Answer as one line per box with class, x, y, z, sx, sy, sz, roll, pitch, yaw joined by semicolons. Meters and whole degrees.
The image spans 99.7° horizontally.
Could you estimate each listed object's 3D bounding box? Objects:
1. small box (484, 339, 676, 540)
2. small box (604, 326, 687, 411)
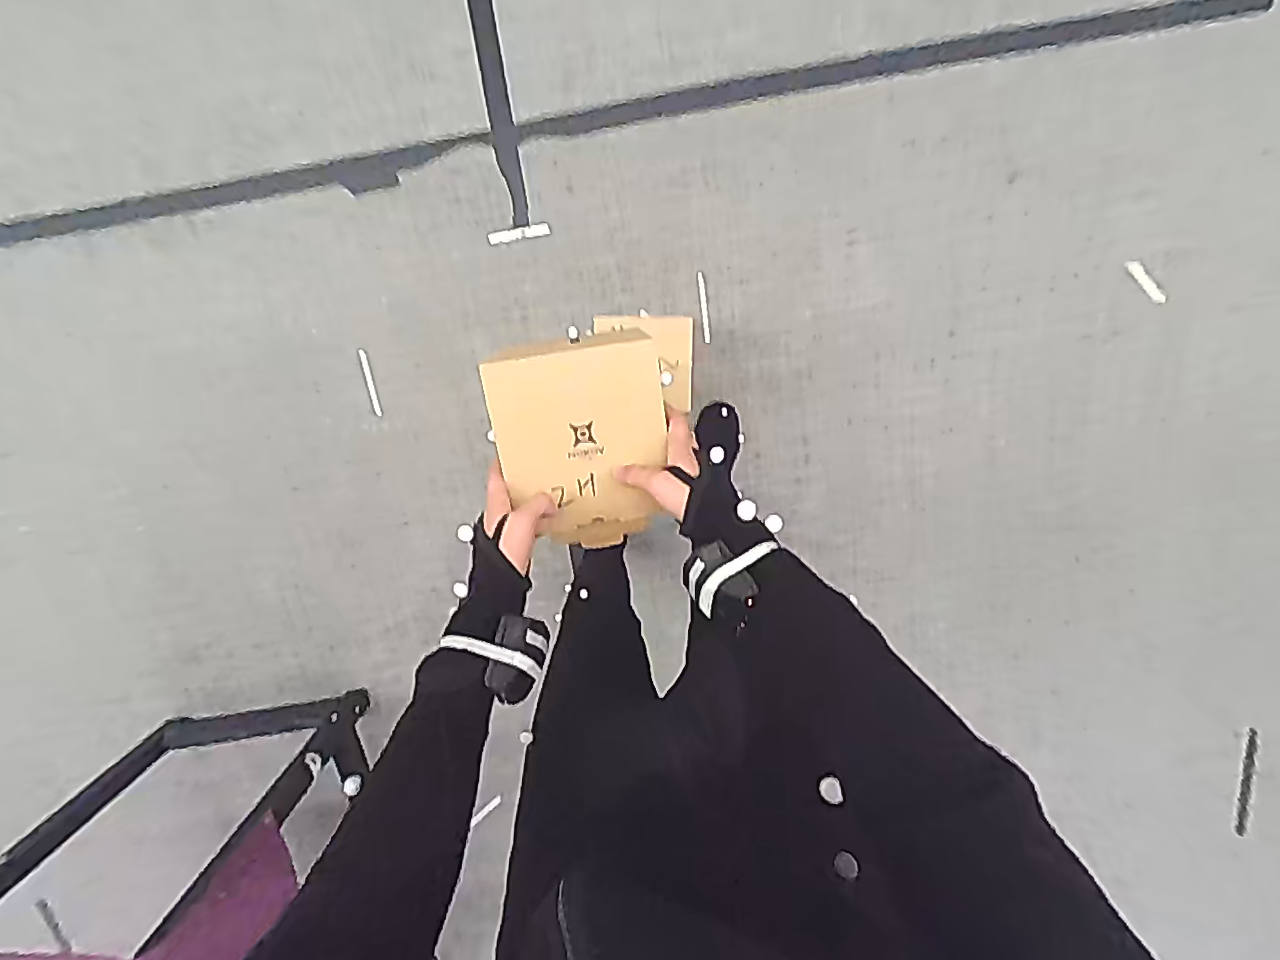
small box;-0.061;-0.056;0.596;0.168;0.176;0.179;-9;110;-2
small box;0.014;-0.247;1.198;0.168;0.176;0.179;-4;104;1
